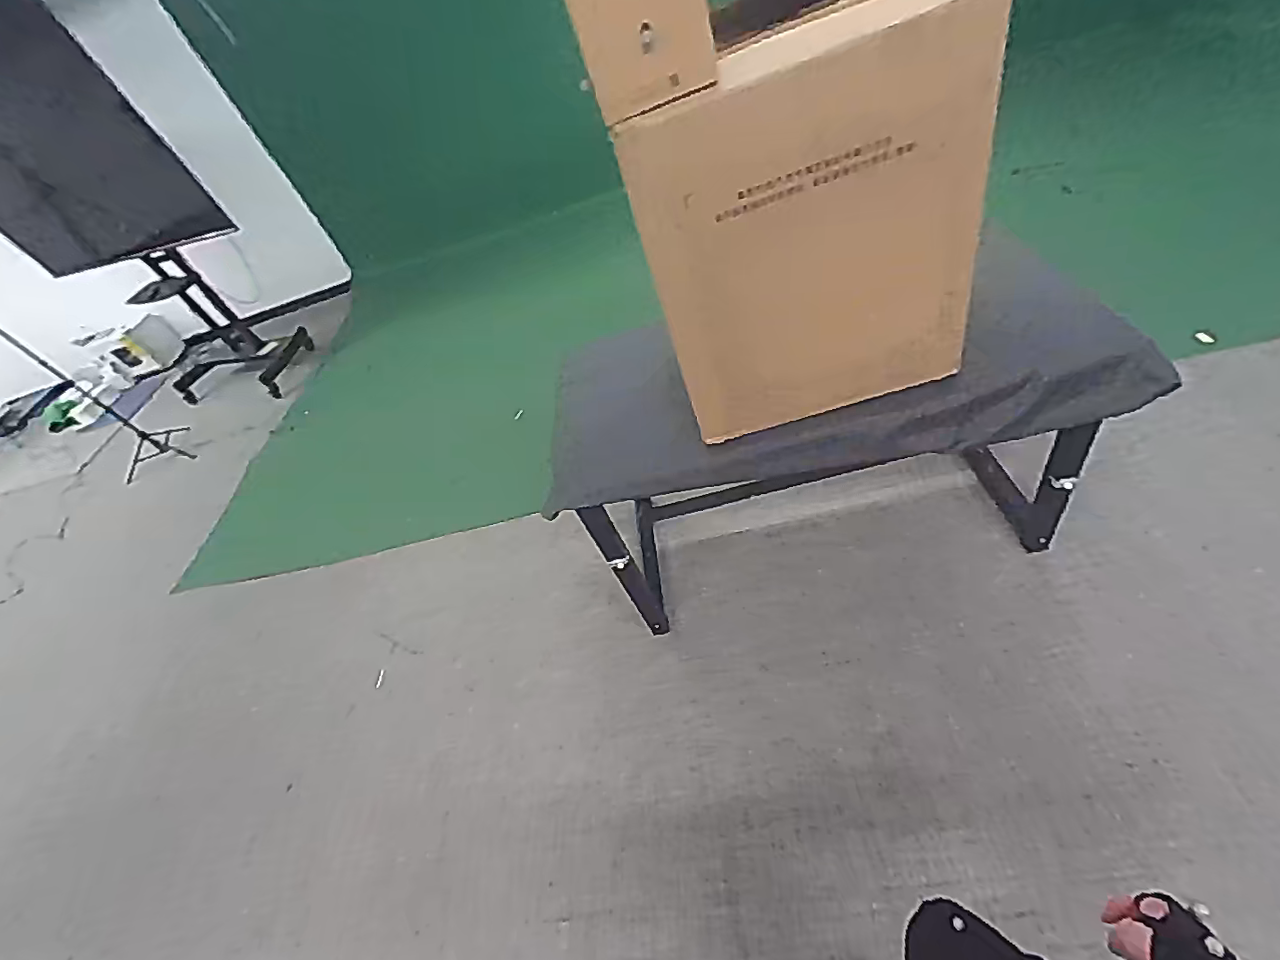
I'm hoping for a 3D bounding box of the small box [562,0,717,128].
[{"bbox_3d":[-0.004,-0.615,0.737,0.168,0.176,0.179,-18,46,8],"label":"small box"}]
